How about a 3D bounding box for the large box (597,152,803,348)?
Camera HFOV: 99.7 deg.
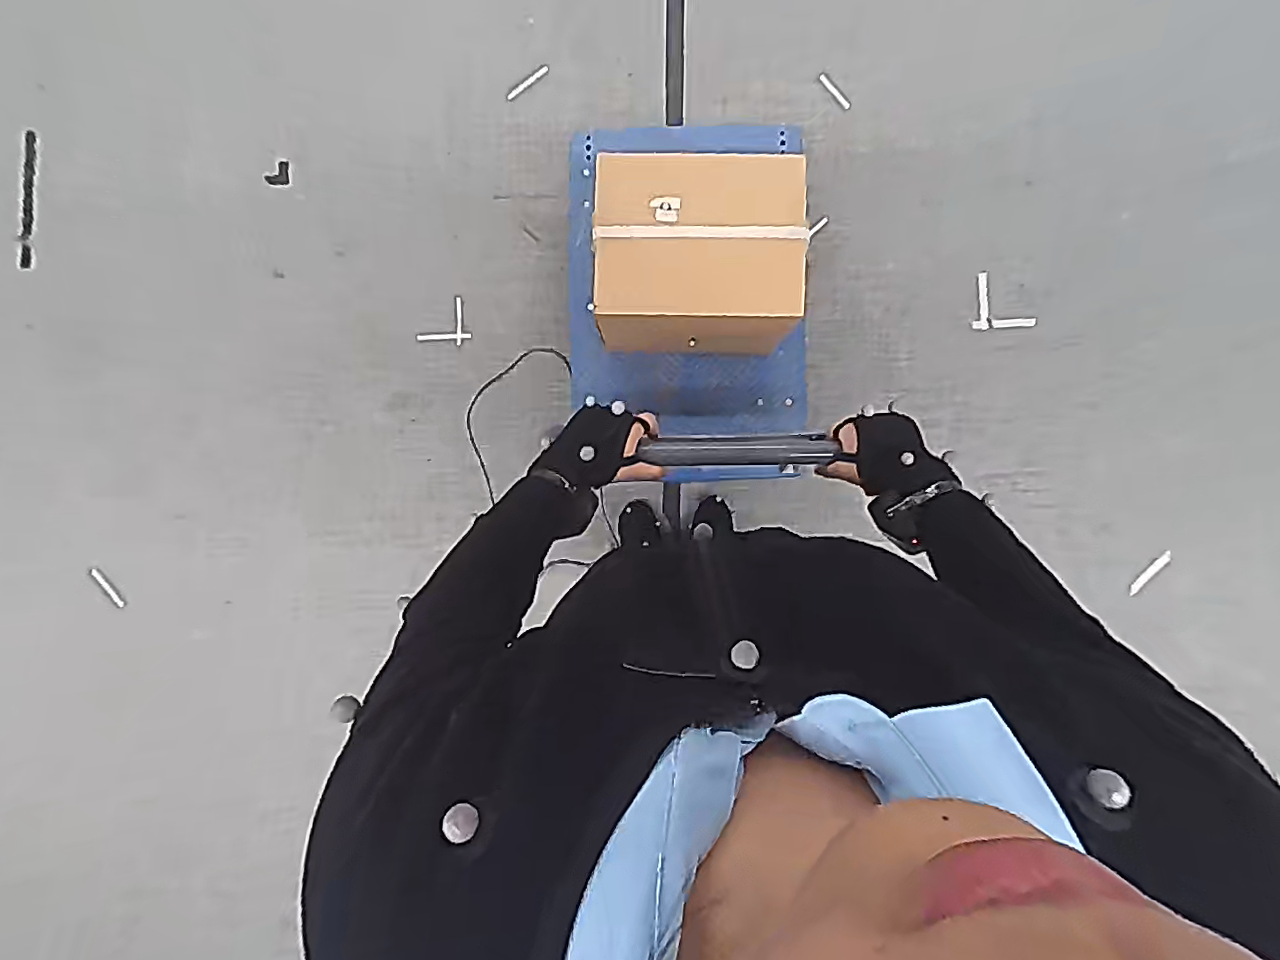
[{"bbox_3d":[0.122,-0.479,1.195,0.408,0.320,0.320,1,89,2],"label":"large box"}]
